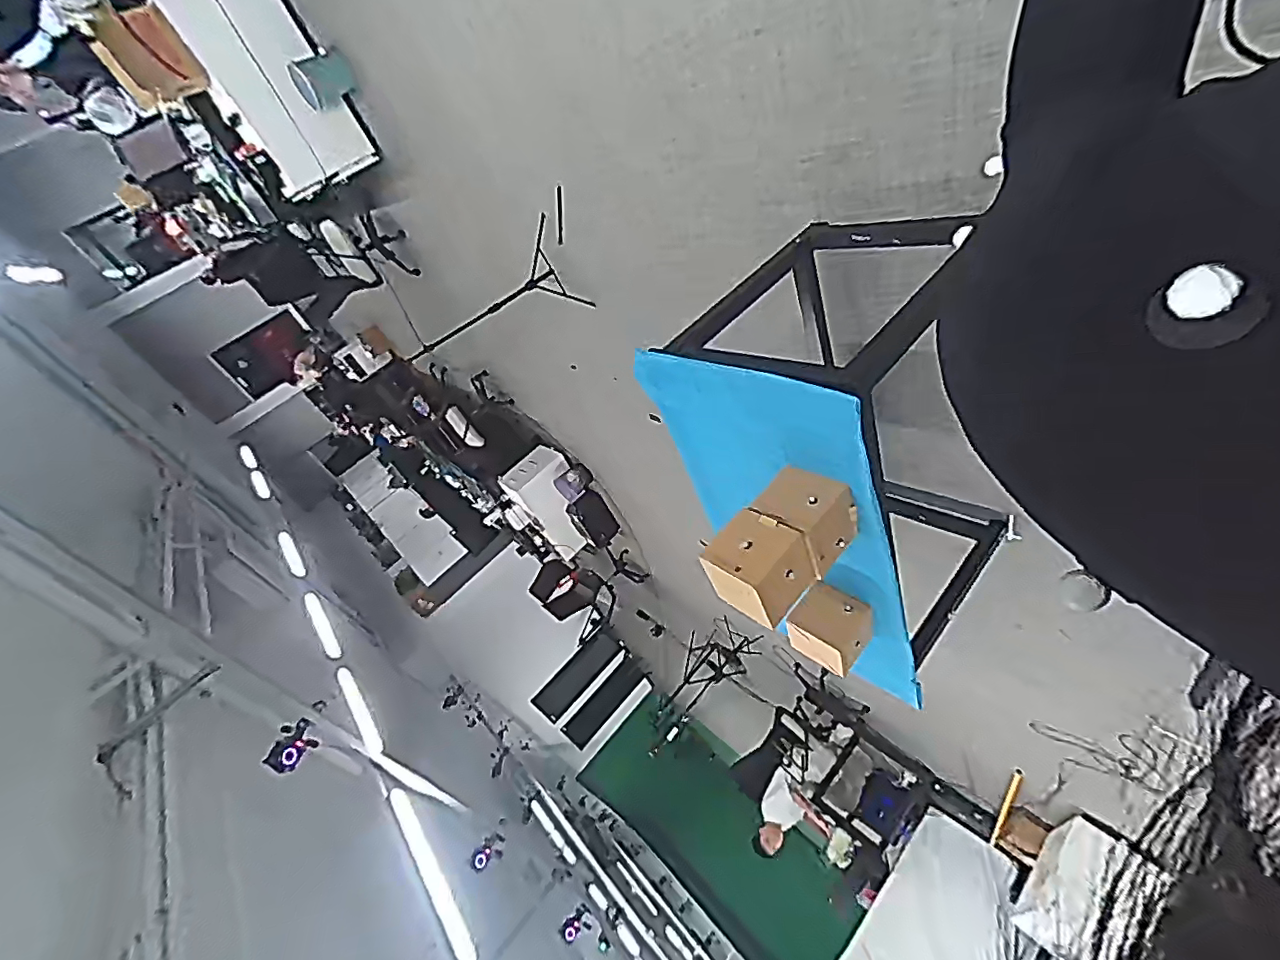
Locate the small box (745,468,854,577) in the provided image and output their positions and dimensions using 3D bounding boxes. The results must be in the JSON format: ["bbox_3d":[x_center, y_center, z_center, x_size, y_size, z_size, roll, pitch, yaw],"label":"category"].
[{"bbox_3d":[0.378,0.102,1.293,0.179,0.176,0.168,23,150,47],"label":"small box"}]

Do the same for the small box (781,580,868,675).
[{"bbox_3d":[0.542,0.435,1.582,0.179,0.176,0.168,26,150,42],"label":"small box"}]

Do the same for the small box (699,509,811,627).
[{"bbox_3d":[0.261,0.202,1.237,0.168,0.176,0.179,26,154,46],"label":"small box"}]
